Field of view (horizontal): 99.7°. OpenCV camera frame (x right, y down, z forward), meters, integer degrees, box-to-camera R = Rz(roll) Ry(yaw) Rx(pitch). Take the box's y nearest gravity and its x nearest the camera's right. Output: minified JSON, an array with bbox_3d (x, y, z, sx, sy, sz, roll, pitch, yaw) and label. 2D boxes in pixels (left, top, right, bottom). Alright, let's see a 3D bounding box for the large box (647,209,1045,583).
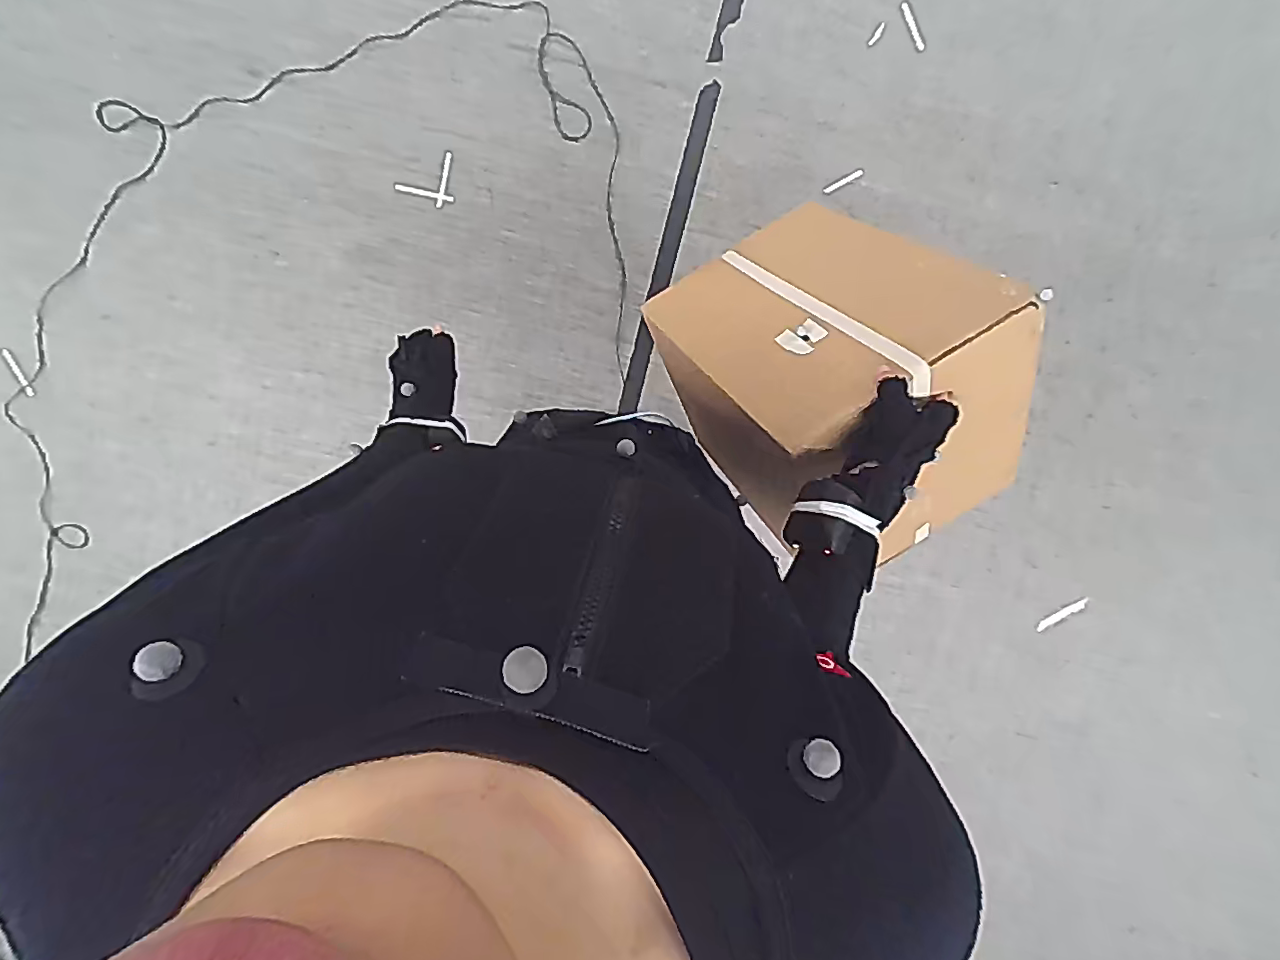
[{"bbox_3d":[0.264,-0.134,0.798,0.320,0.408,0.320,-32,135,-1],"label":"large box"}]
